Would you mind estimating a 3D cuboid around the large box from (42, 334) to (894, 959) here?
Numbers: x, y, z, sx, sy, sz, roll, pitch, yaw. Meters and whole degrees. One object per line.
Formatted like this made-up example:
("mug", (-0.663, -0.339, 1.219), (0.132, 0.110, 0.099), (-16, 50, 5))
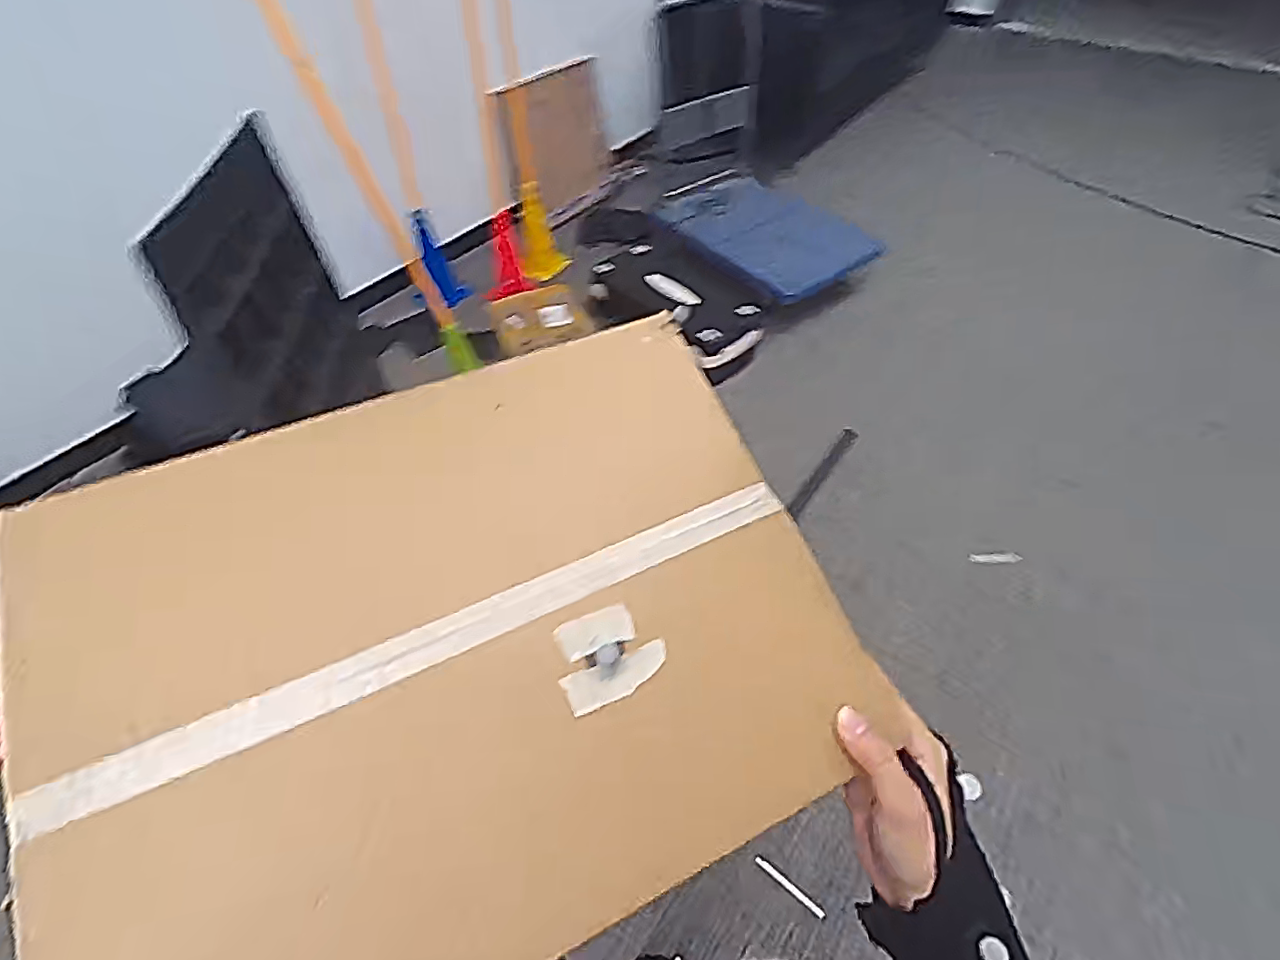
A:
("large box", (-0.110, 0.147, 0.439), (0.408, 0.320, 0.320), (-21, 72, -16))
